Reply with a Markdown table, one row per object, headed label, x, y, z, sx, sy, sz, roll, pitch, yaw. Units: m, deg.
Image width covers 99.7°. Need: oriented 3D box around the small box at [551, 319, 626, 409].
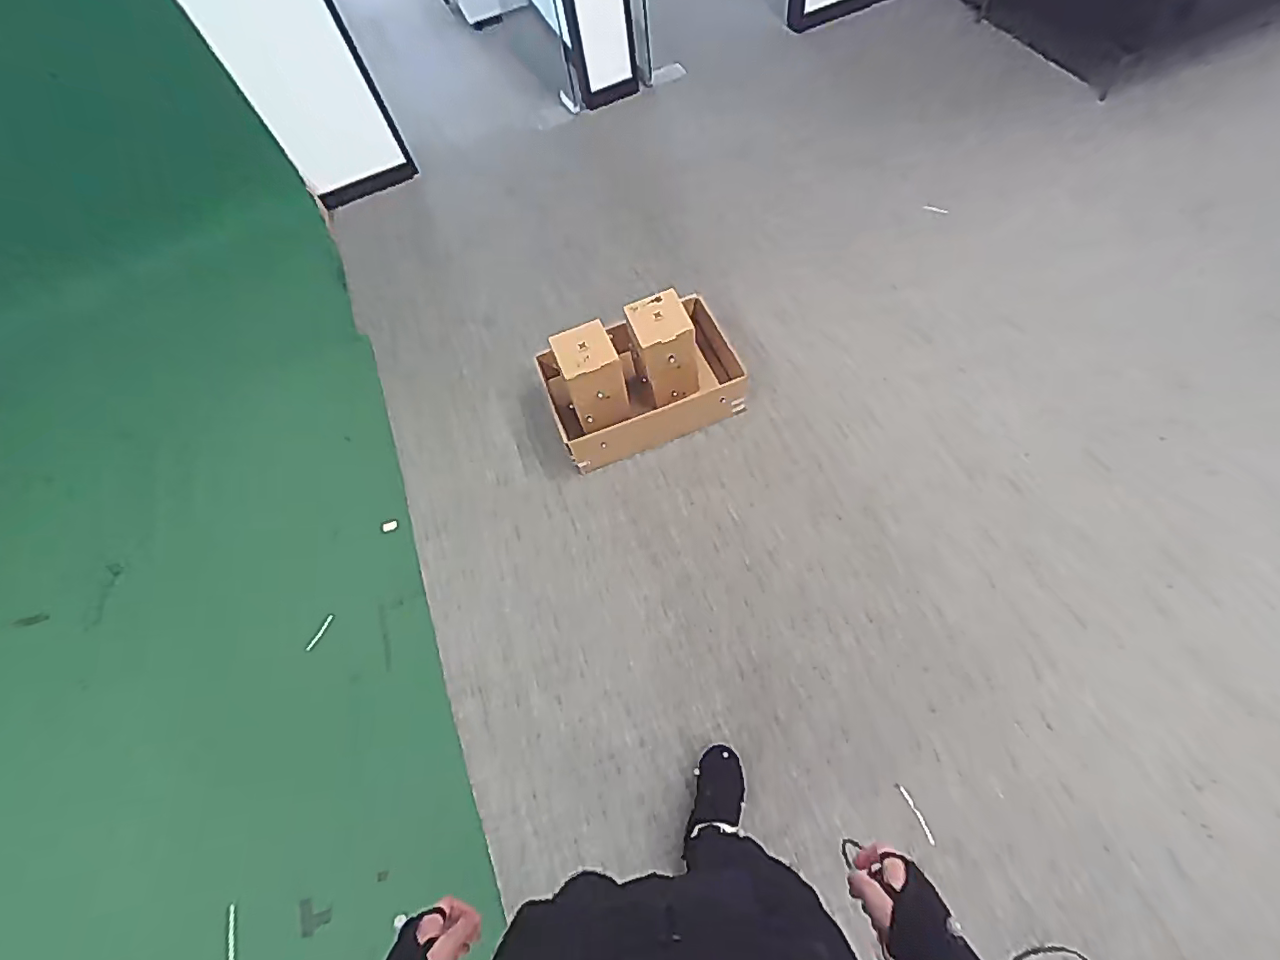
| label | x | y | z | sx | sy | sz | roll | pitch | yaw |
| --- | --- | --- | --- | --- | --- | --- | --- | --- | --- |
| small box | -0.152 | -0.345 | 1.627 | 0.168 | 0.176 | 0.179 | -22 | 62 | -4 |
